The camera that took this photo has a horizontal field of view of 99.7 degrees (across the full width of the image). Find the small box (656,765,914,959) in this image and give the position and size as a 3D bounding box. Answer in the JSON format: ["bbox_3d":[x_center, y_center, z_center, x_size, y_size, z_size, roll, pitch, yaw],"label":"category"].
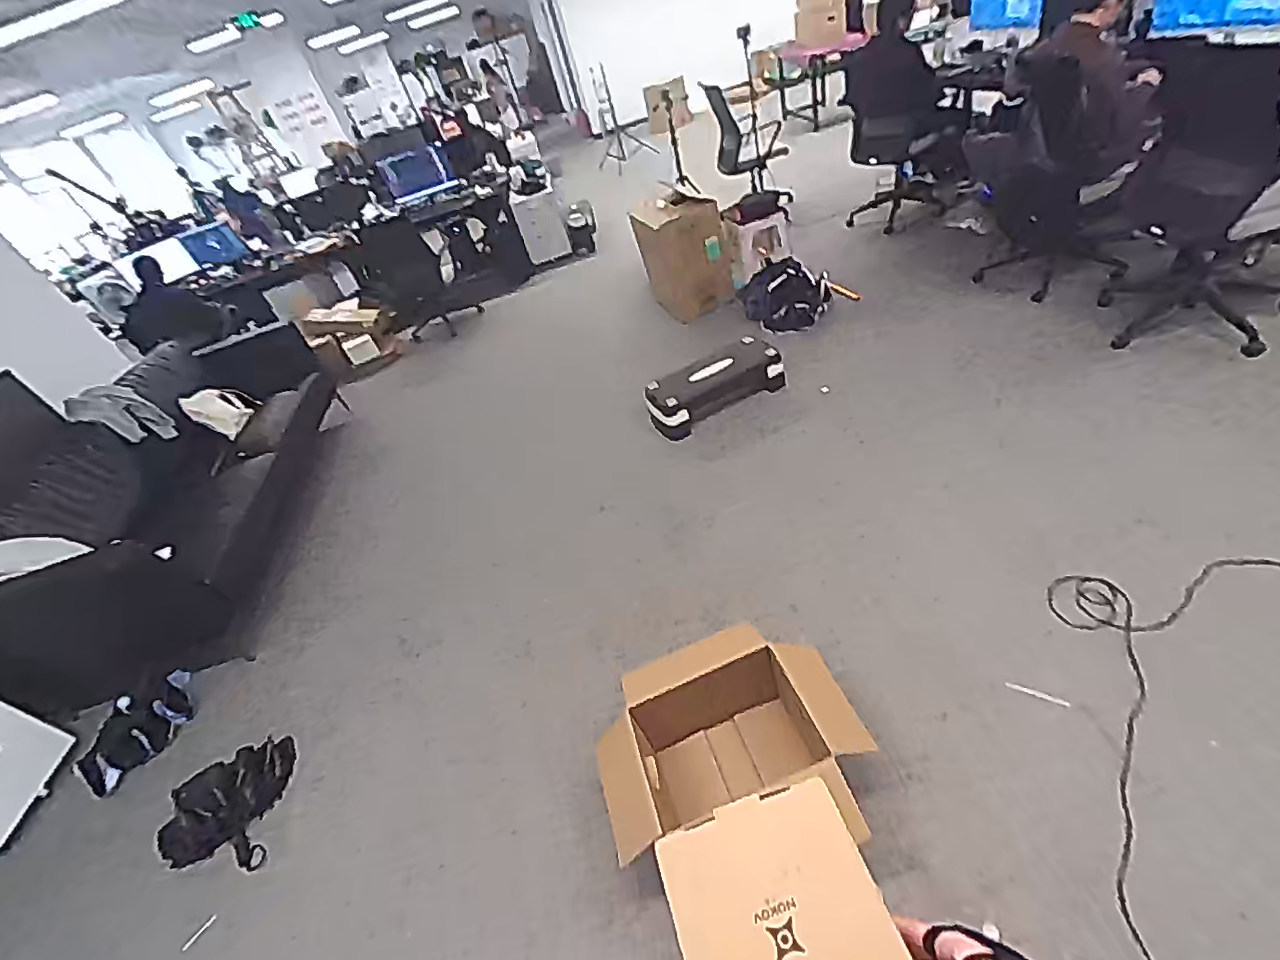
[{"bbox_3d":[0.130,0.400,0.493,0.168,0.176,0.179,-22,46,-1],"label":"small box"}]
